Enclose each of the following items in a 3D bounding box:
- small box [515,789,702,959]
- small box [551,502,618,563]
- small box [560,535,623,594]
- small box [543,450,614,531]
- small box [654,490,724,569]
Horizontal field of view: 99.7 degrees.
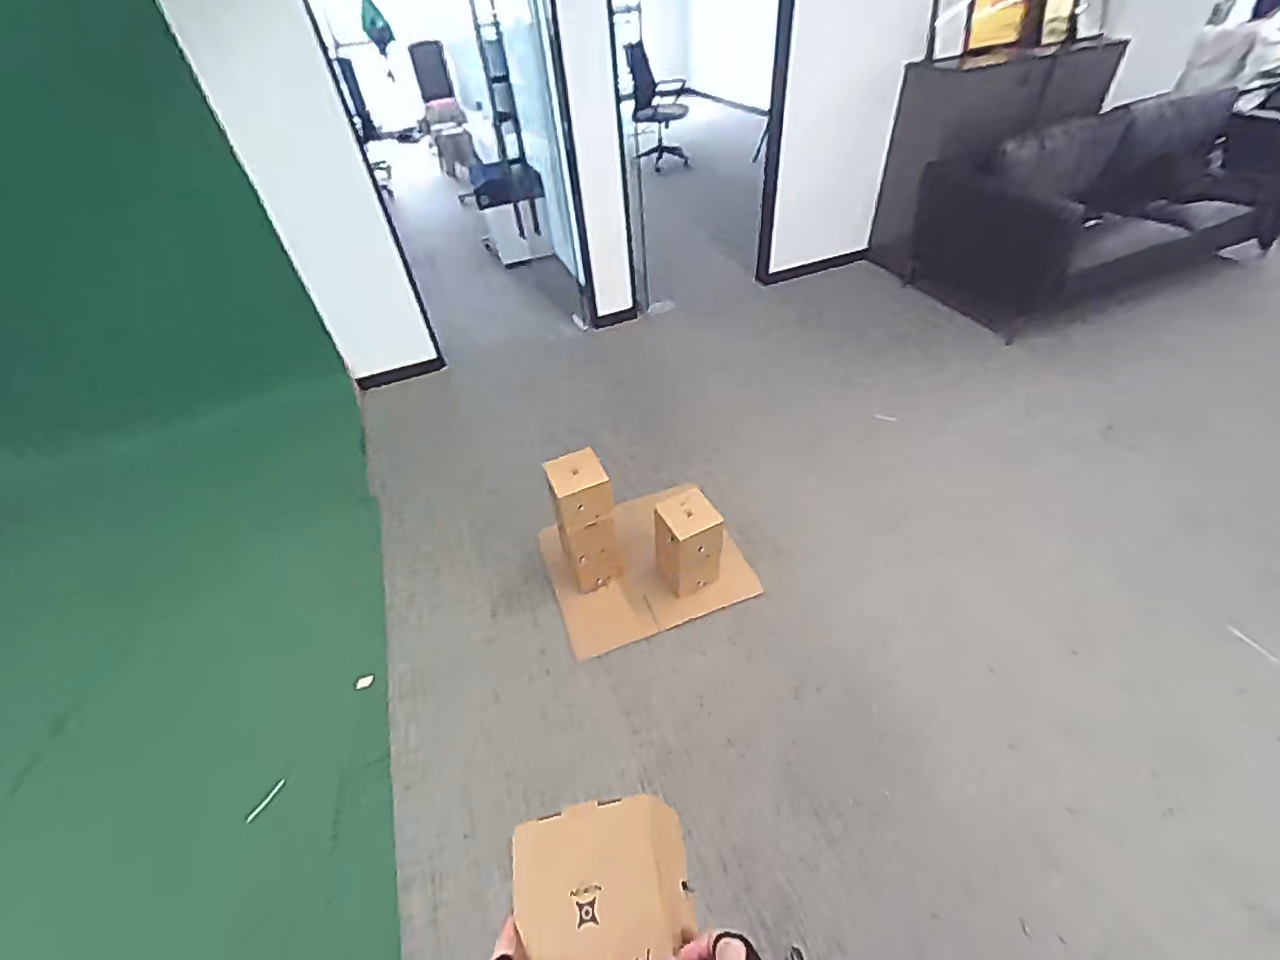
[{"bbox_3d":[-0.034,0.485,0.625,0.168,0.176,0.179,-16,50,5],"label":"small box"},{"bbox_3d":[-0.185,0.159,1.836,0.168,0.176,0.179,-21,45,-15],"label":"small box"},{"bbox_3d":[-0.172,0.277,1.948,0.168,0.176,0.179,-23,47,-17],"label":"small box"},{"bbox_3d":[-0.193,0.040,1.726,0.168,0.176,0.179,-21,45,-14],"label":"small box"},{"bbox_3d":[0.161,0.169,1.780,0.168,0.176,0.179,-22,46,-17],"label":"small box"}]
